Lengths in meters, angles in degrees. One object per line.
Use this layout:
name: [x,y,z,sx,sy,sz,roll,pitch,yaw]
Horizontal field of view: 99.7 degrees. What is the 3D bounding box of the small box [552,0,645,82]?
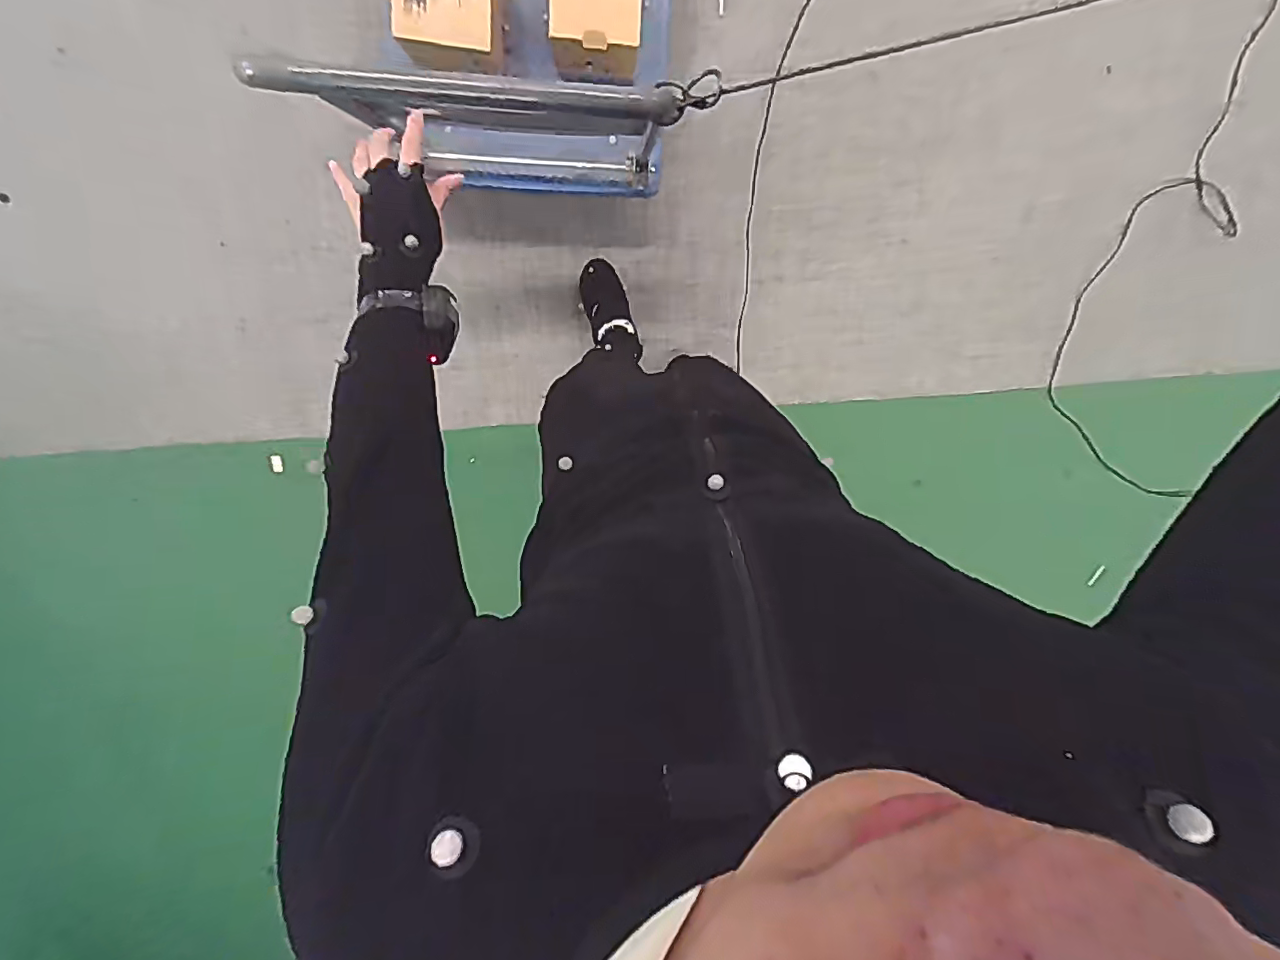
small box: [-0.077,-0.894,1.026,0.168,0.176,0.179,3,112,-4]
